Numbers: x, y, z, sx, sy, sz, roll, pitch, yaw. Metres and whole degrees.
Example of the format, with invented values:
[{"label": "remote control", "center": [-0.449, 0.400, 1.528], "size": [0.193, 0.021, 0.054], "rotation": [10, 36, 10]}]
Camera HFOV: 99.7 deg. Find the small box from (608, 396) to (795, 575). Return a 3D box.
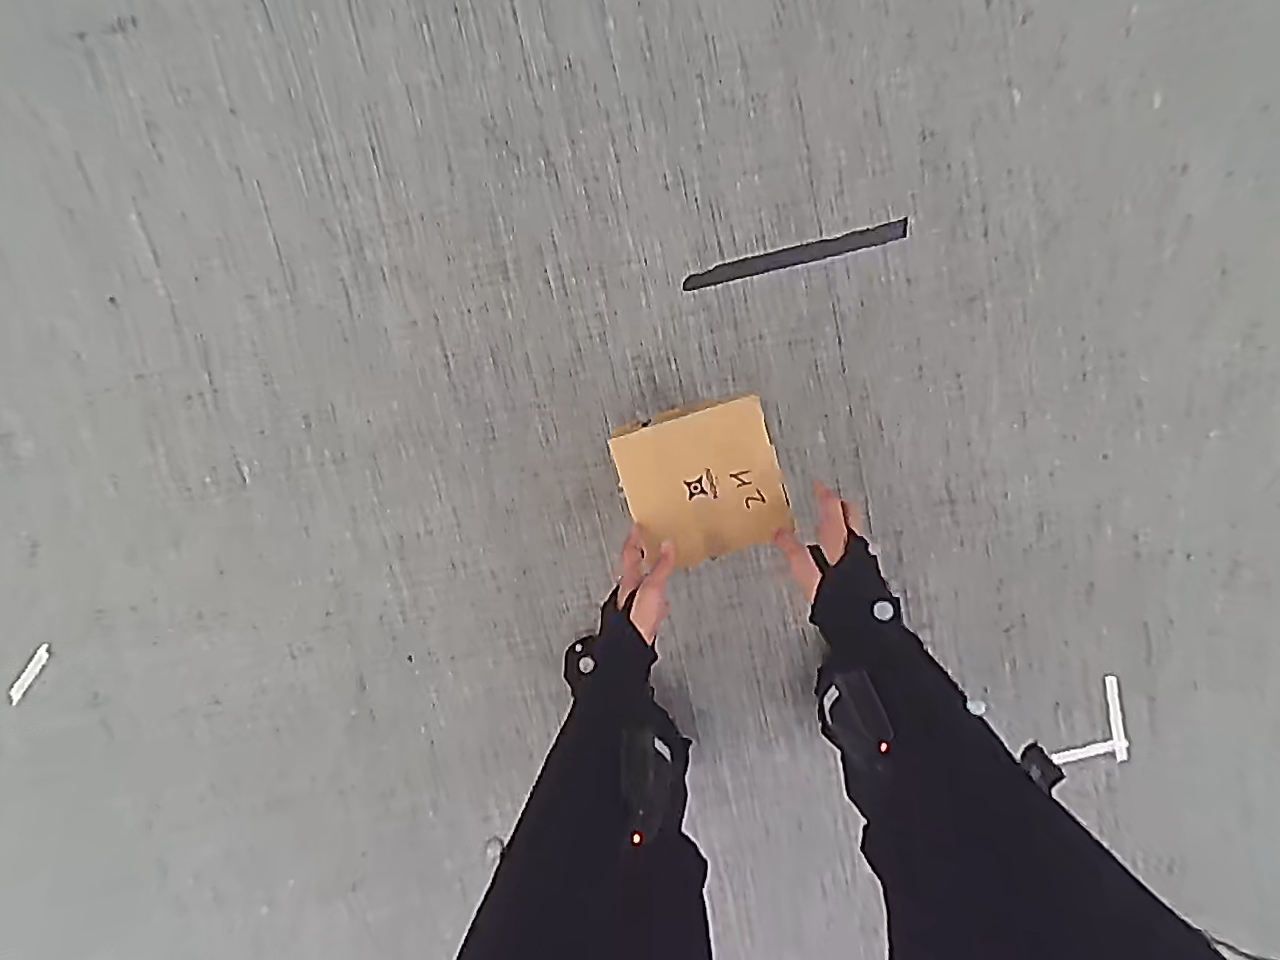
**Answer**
[{"label": "small box", "center": [0.072, -0.001, 0.679], "size": [0.179, 0.176, 0.168], "rotation": [-17, 98, 3]}]
